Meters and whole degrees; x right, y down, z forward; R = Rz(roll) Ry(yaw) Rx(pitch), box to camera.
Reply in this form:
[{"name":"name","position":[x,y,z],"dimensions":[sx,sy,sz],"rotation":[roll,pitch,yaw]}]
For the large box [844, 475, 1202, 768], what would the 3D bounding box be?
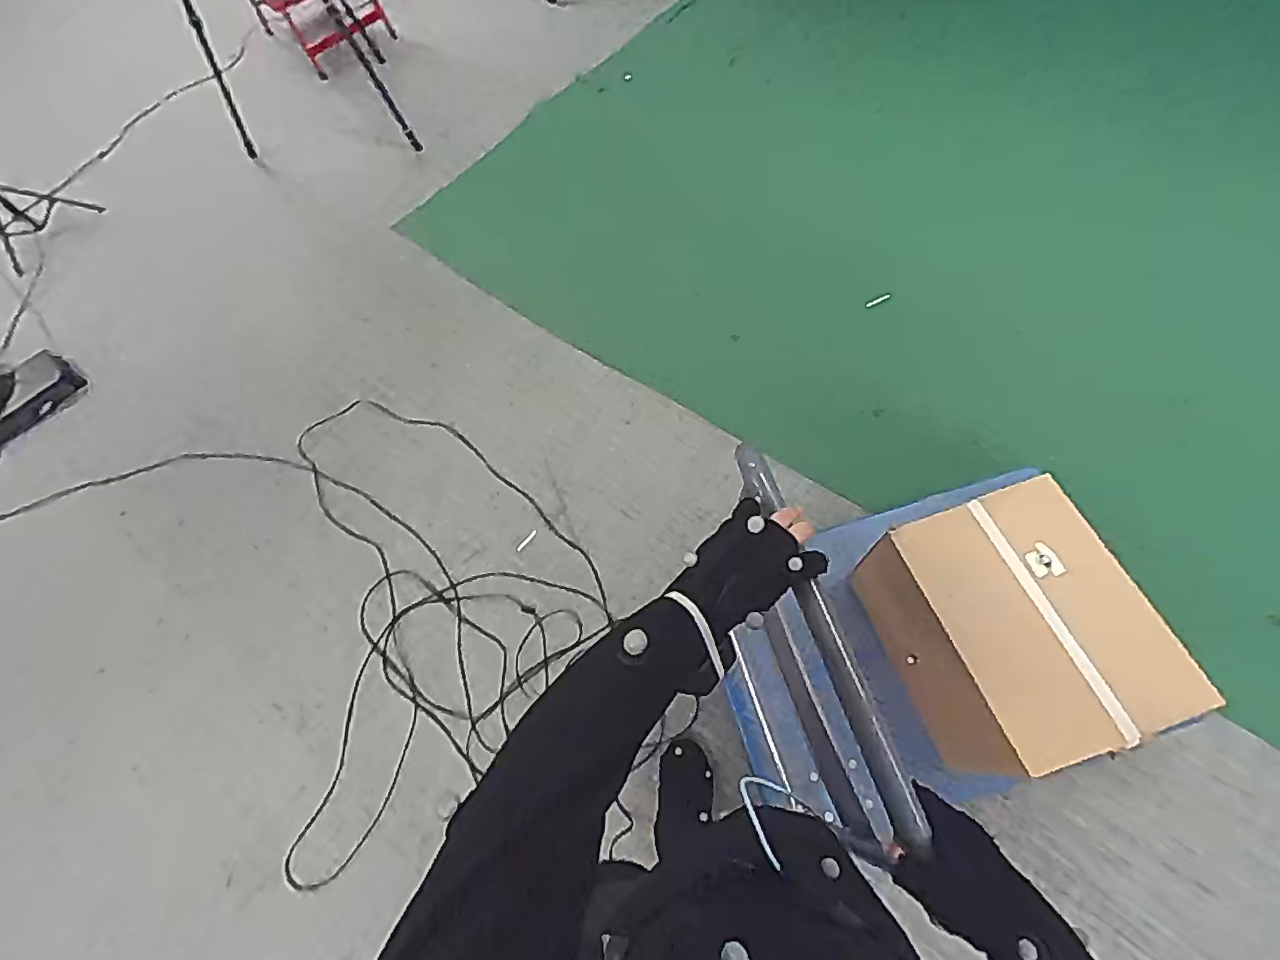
[{"name":"large box","position":[0.646,0.270,1.013],"dimensions":[0.320,0.320,0.408],"rotation":[-19,63,-4]}]
